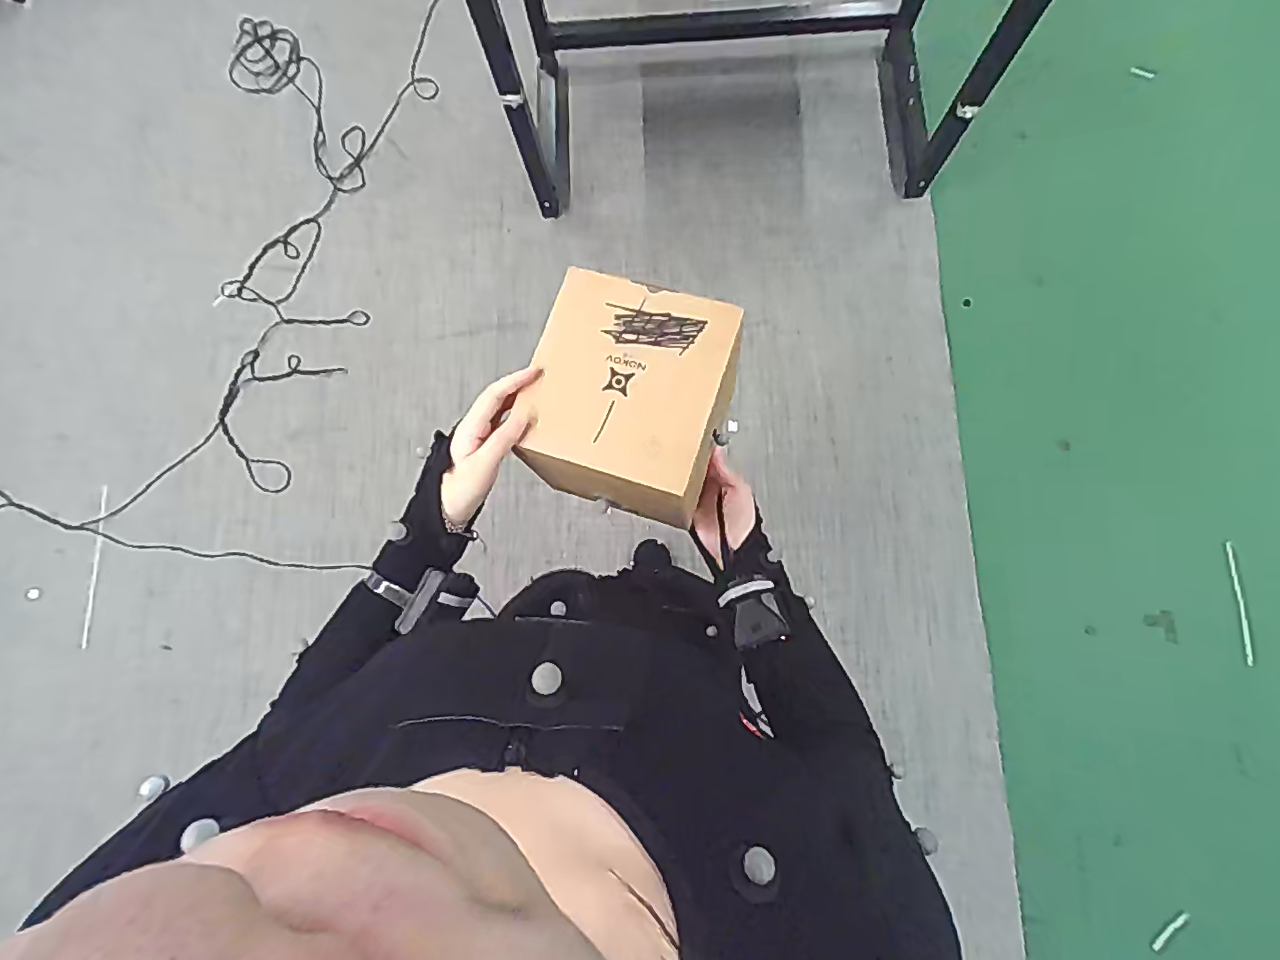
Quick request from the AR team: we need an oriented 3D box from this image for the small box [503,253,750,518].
[{"bbox_3d":[-0.004,-0.079,0.526,0.168,0.176,0.179,17,78,10],"label":"small box"}]
